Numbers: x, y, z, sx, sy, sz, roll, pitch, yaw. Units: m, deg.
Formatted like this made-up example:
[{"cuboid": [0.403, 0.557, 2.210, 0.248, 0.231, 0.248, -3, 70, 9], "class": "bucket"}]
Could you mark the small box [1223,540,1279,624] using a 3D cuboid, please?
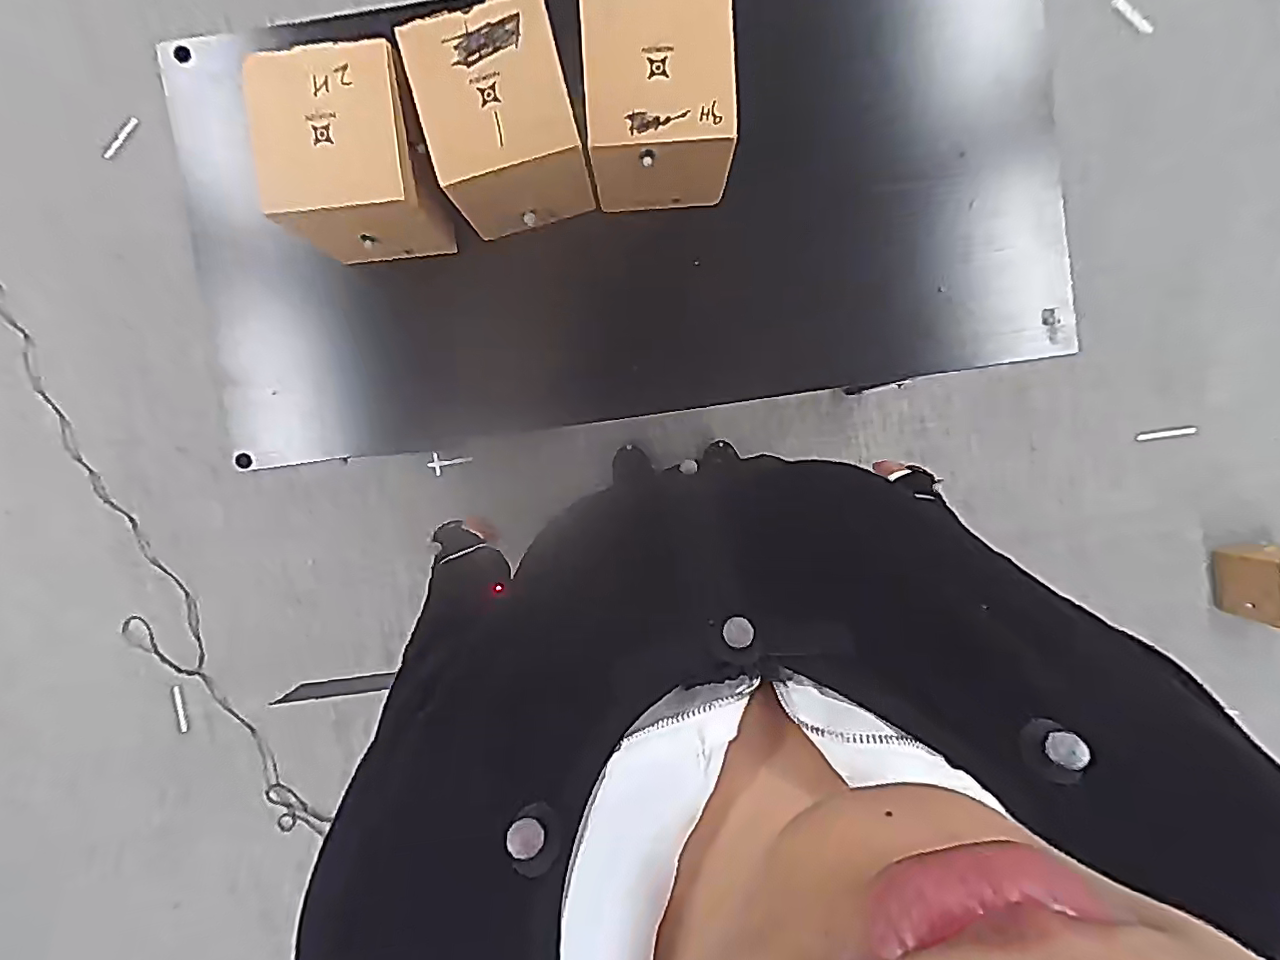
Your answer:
[{"cuboid": [1.660, 0.262, 1.378, 0.168, 0.176, 0.179, -9, 92, 2], "class": "small box"}]

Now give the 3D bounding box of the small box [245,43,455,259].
[{"cuboid": [-0.347, -0.393, 0.681, 0.168, 0.176, 0.179, -6, 93, 1], "class": "small box"}]
